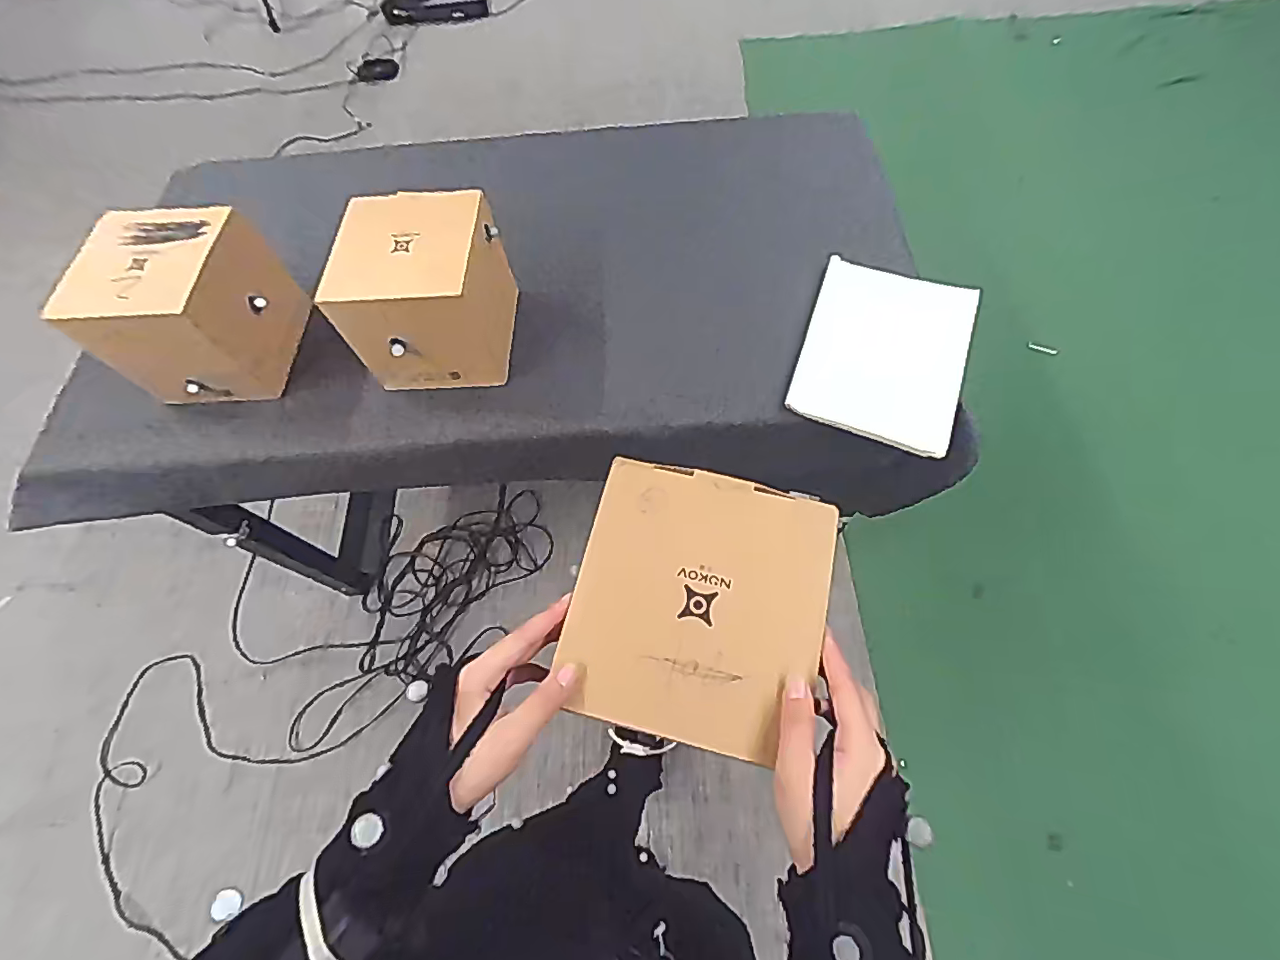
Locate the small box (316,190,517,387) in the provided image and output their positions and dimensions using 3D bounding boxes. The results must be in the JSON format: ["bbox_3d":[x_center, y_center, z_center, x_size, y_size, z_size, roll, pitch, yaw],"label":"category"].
[{"bbox_3d":[-0.262,-0.230,0.683,0.168,0.176,0.179,-2,63,4],"label":"small box"}]

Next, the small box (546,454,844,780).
[{"bbox_3d":[0.043,0.105,0.425,0.168,0.176,0.179,13,70,7],"label":"small box"}]
